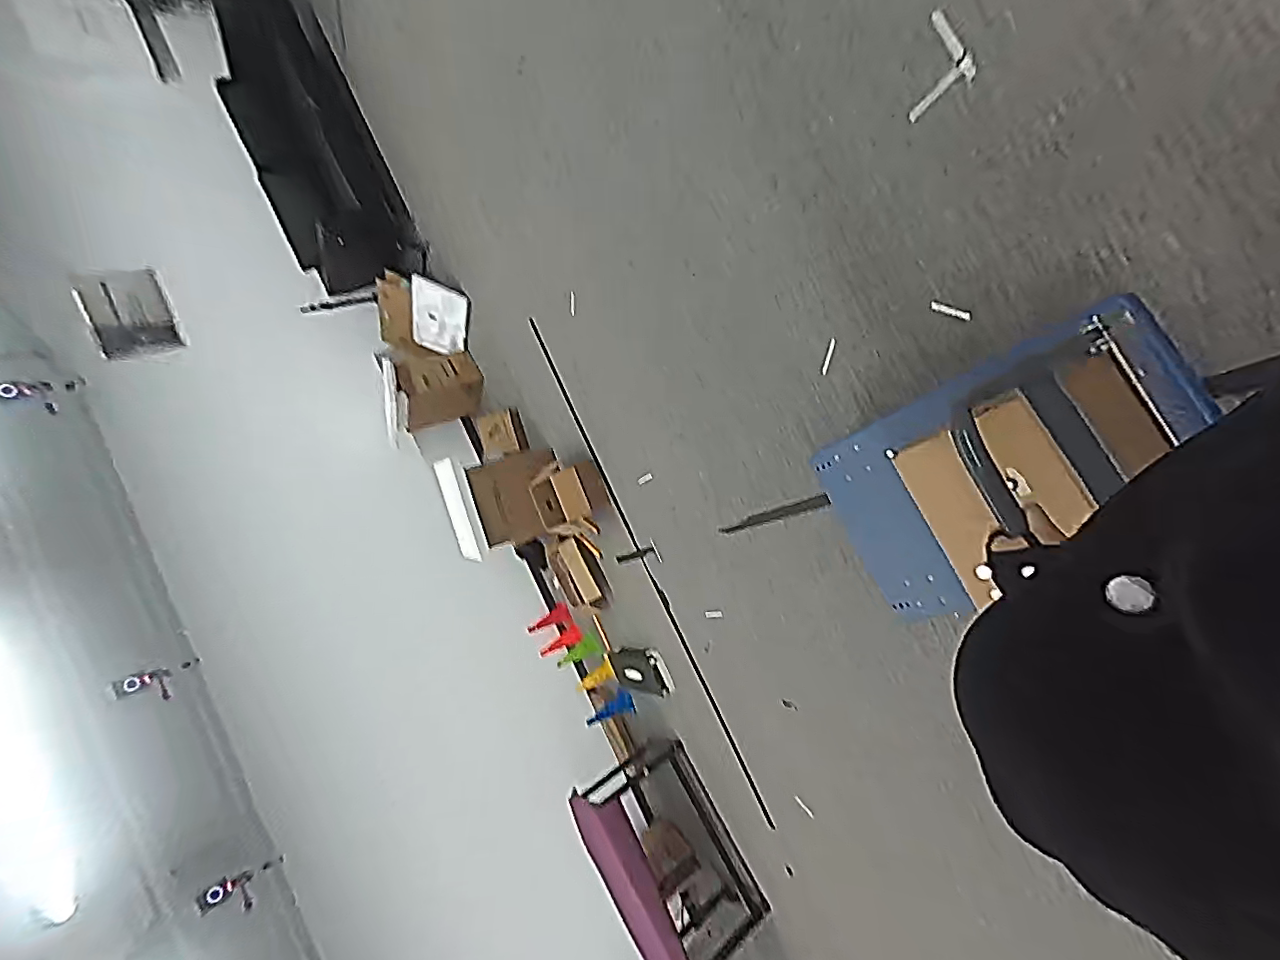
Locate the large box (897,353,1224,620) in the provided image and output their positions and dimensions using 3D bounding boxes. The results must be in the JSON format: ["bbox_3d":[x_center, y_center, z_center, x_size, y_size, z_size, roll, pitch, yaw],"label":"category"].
[{"bbox_3d":[0.823,0.019,1.085,0.408,0.320,0.320,64,149,8],"label":"large box"}]
